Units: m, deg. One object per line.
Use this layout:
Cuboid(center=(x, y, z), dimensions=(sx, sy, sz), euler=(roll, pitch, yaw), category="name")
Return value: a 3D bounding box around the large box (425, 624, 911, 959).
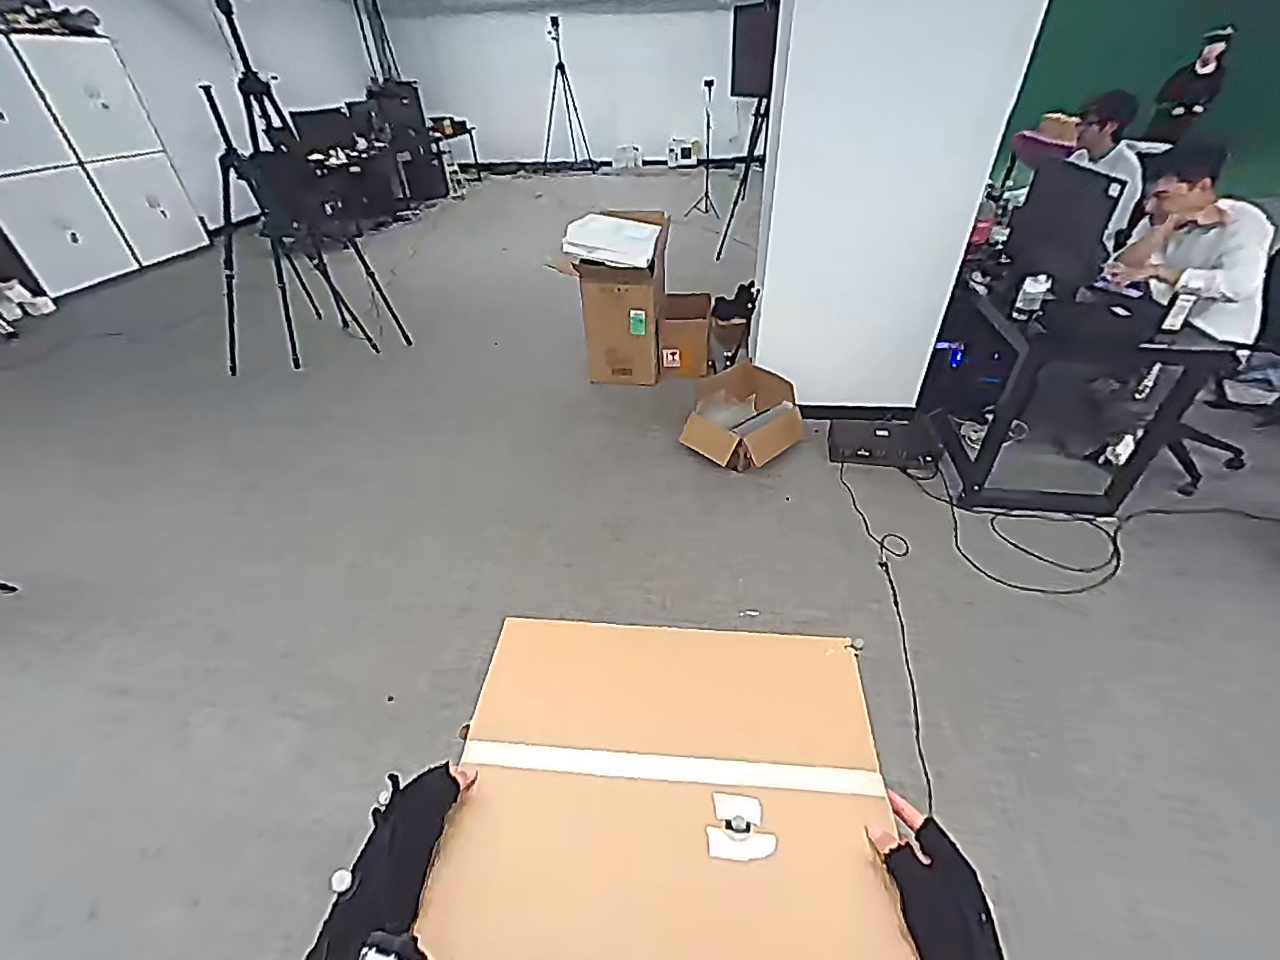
Cuboid(center=(0.031, 0.397, 0.640), dimensions=(0.408, 0.320, 0.320), euler=(3, 43, 5), category="large box")
